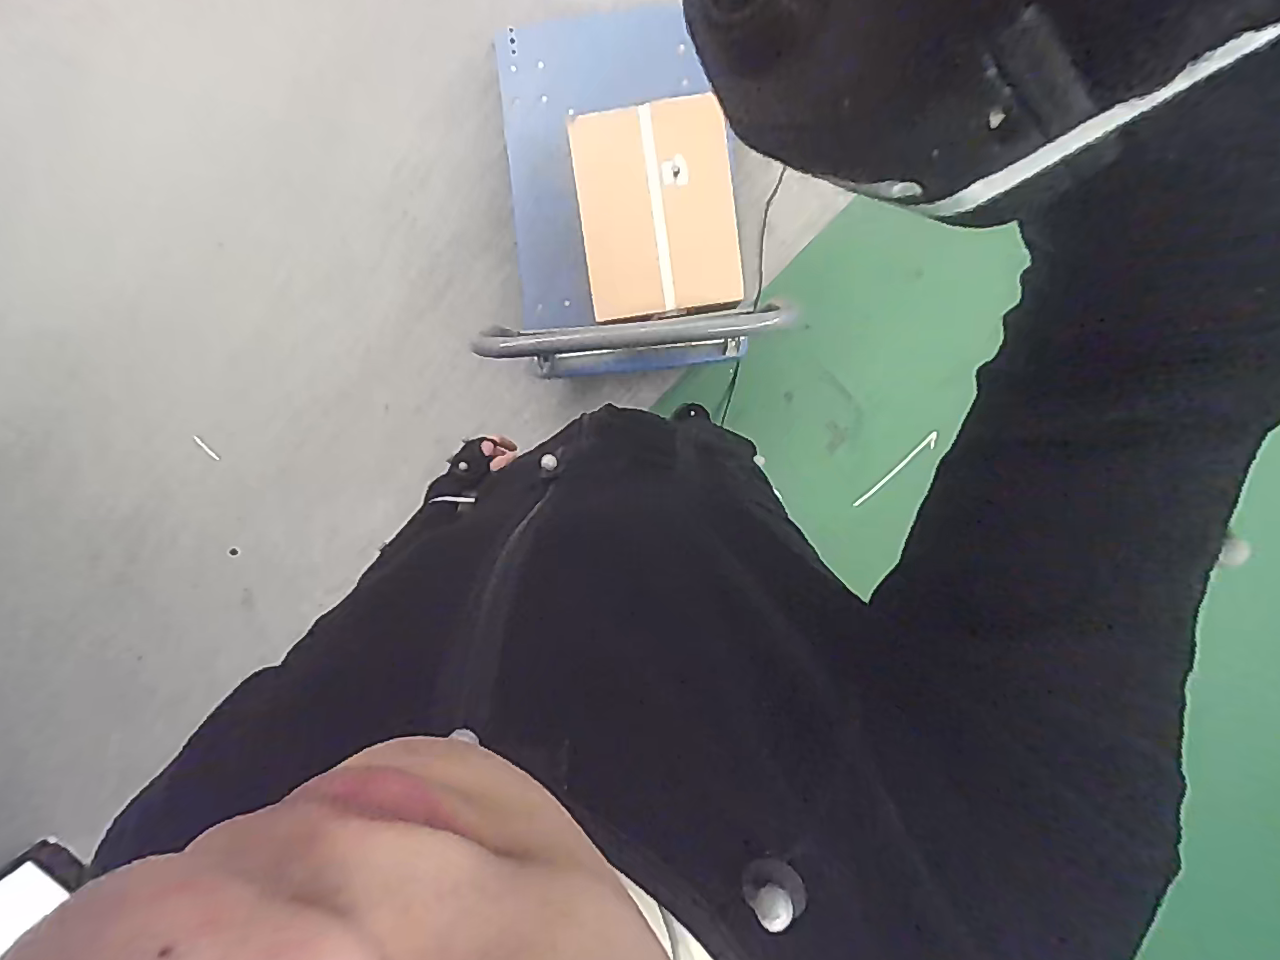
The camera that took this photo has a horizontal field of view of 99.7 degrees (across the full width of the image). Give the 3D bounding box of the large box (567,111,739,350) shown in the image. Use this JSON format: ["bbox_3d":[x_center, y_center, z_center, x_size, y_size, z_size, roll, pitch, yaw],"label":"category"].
[{"bbox_3d":[0.034,-0.549,1.269,0.320,0.320,0.408,-8,95,1],"label":"large box"}]
